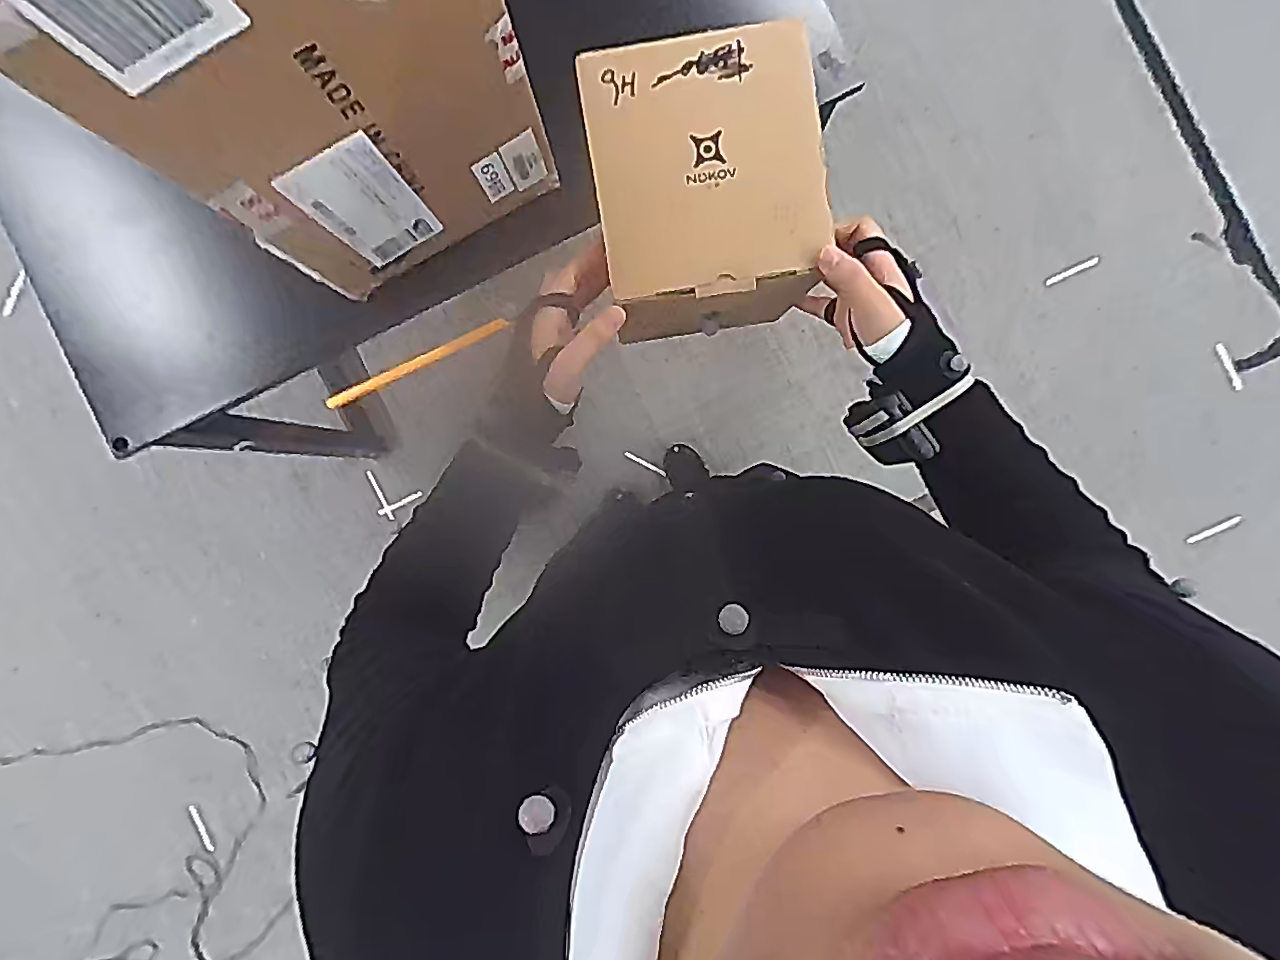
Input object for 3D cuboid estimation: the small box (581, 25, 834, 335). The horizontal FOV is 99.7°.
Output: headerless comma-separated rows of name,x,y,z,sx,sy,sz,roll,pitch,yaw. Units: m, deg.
small box,0.051,-0.230,0.467,0.168,0.176,0.179,-9,95,0
